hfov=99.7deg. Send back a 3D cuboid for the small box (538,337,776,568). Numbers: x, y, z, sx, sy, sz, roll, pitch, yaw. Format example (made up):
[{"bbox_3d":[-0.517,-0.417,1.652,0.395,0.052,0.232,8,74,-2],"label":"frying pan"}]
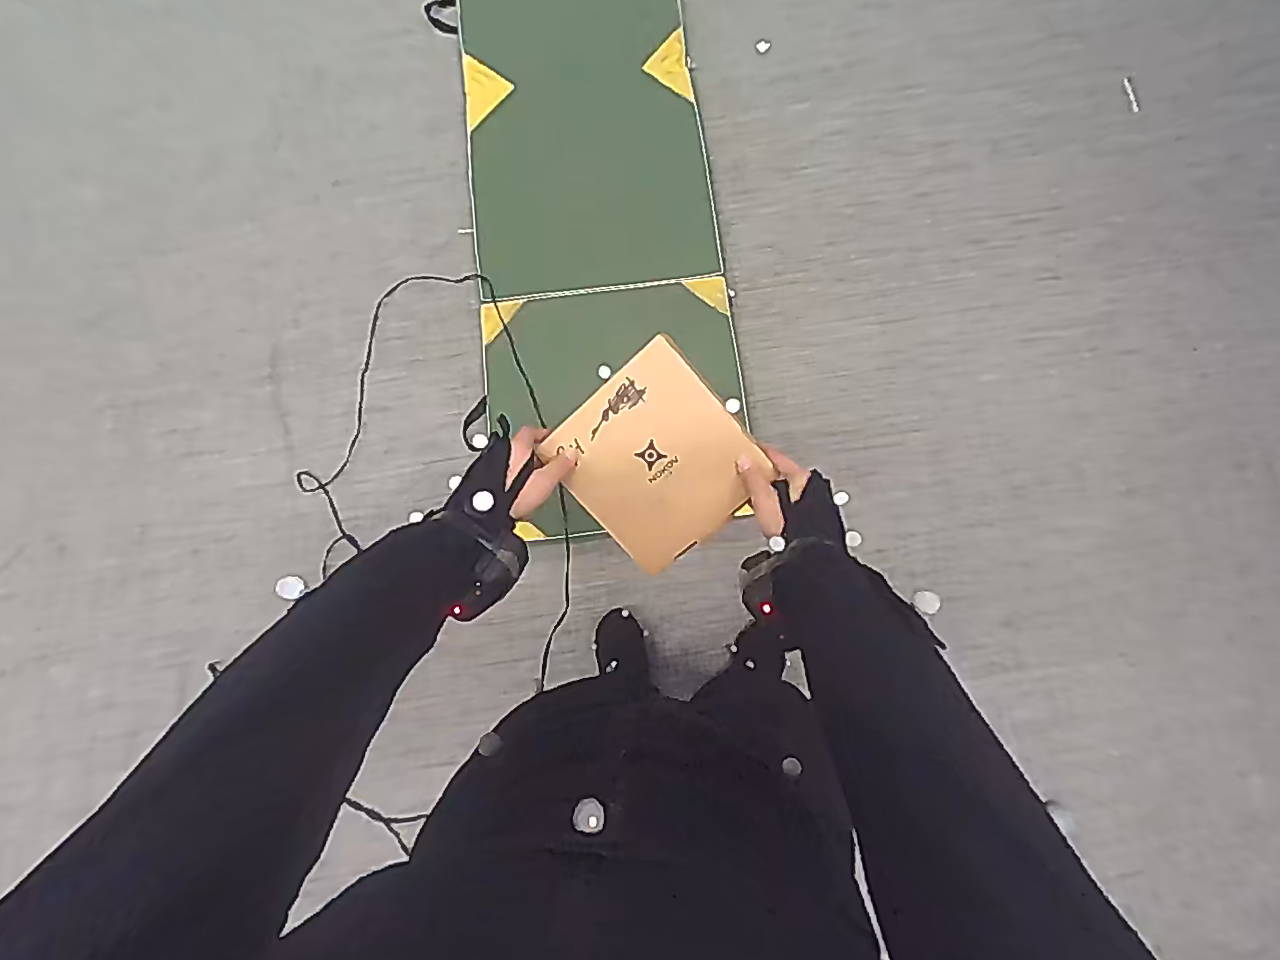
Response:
[{"bbox_3d":[0.021,-0.041,0.598,0.168,0.176,0.179,-40,98,12],"label":"small box"}]
